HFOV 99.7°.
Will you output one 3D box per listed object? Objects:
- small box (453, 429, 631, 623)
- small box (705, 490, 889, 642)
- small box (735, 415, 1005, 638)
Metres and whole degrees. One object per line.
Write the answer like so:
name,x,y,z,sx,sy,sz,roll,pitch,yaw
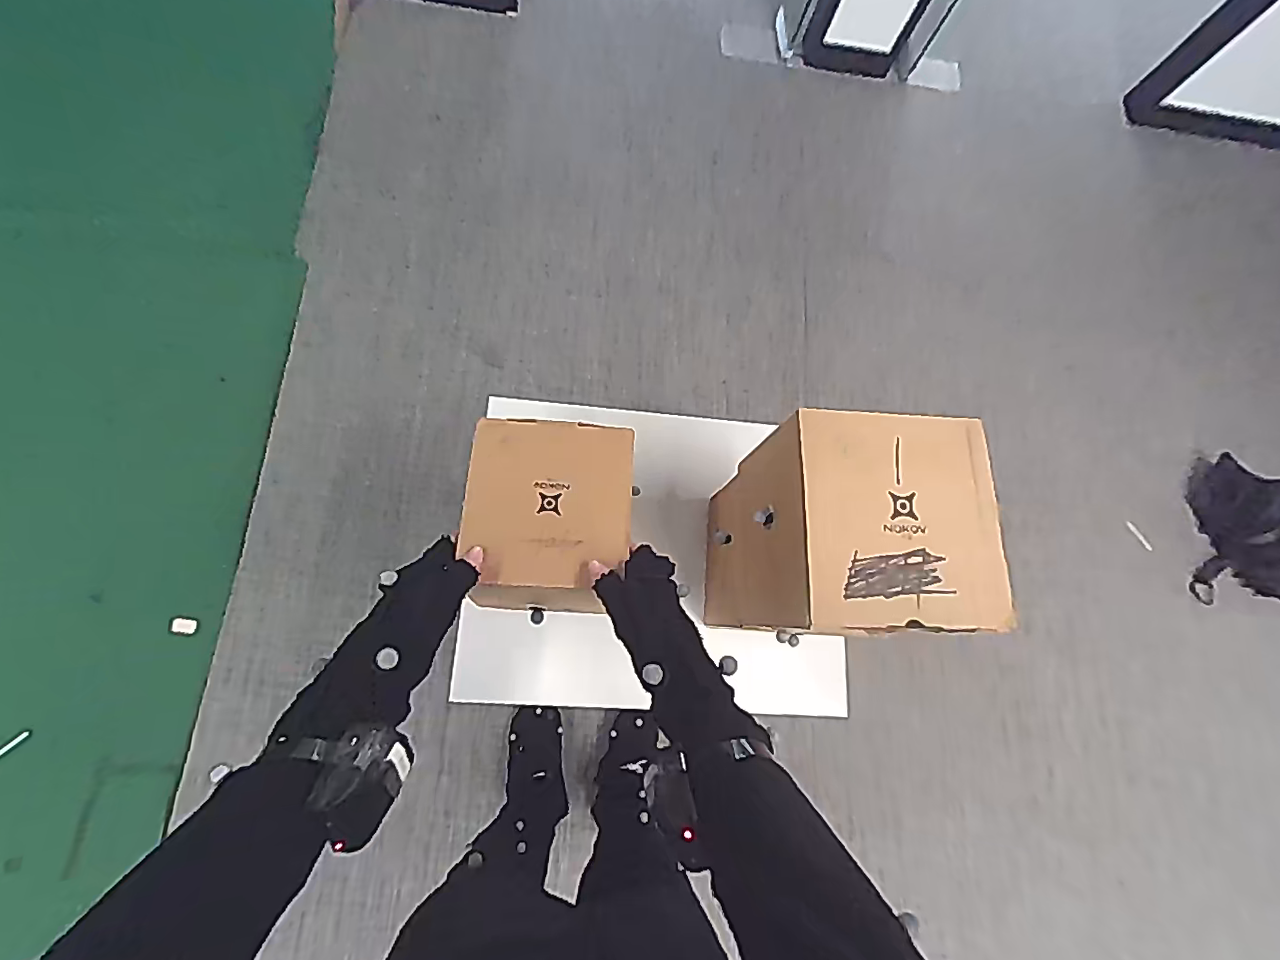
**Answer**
small box,-0.098,0.060,0.609,0.168,0.176,0.179,1,68,-4
small box,0.178,0.102,0.662,0.168,0.176,0.179,4,74,-5
small box,0.192,0.053,0.505,0.168,0.176,0.179,2,74,-6
